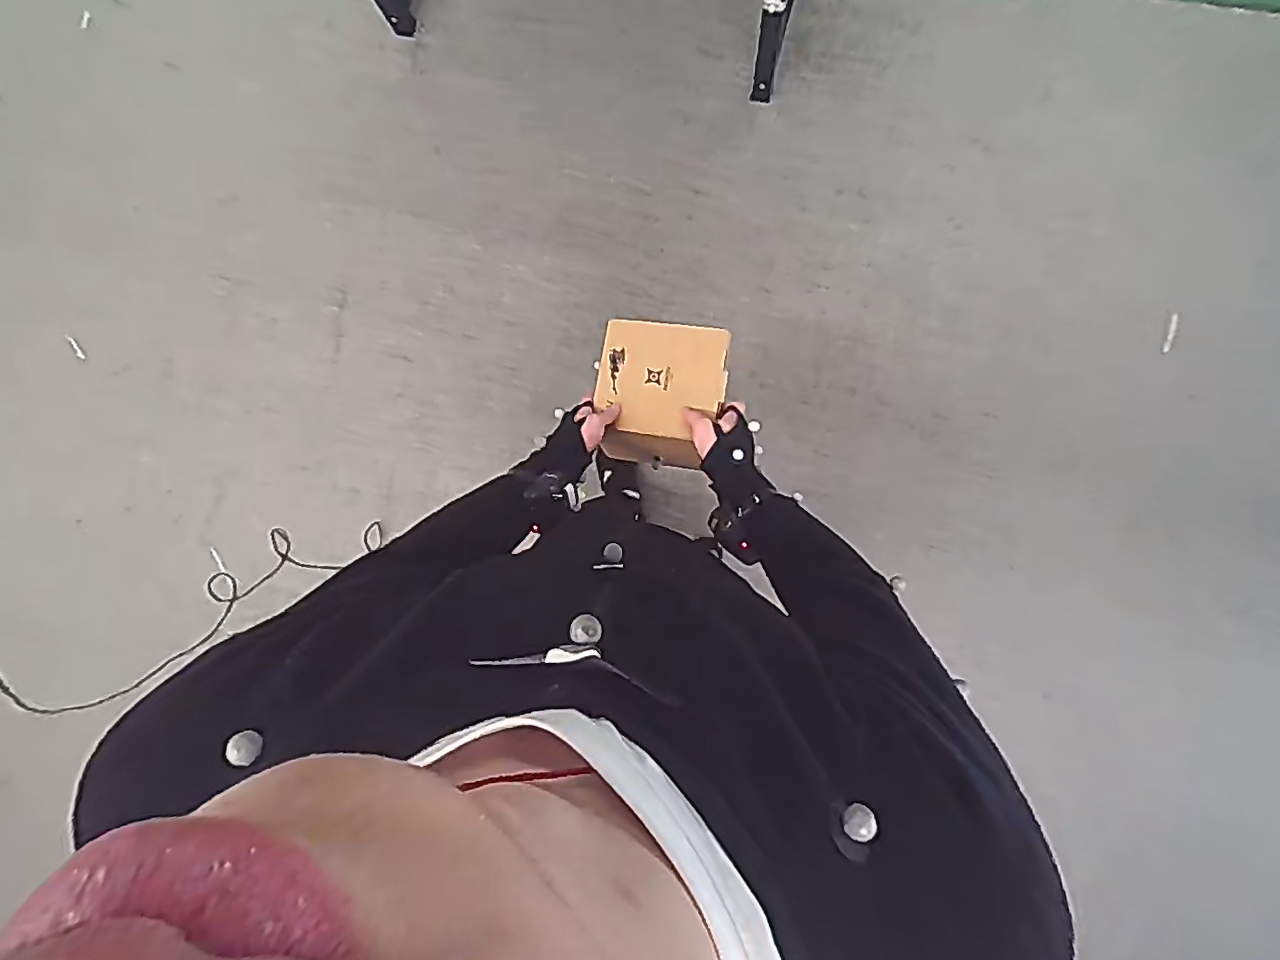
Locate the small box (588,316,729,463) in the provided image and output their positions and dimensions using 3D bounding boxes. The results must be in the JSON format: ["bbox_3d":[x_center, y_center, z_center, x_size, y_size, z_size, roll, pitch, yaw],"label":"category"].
[{"bbox_3d":[0.033,-0.128,0.828,0.179,0.176,0.168,8,79,7],"label":"small box"}]
